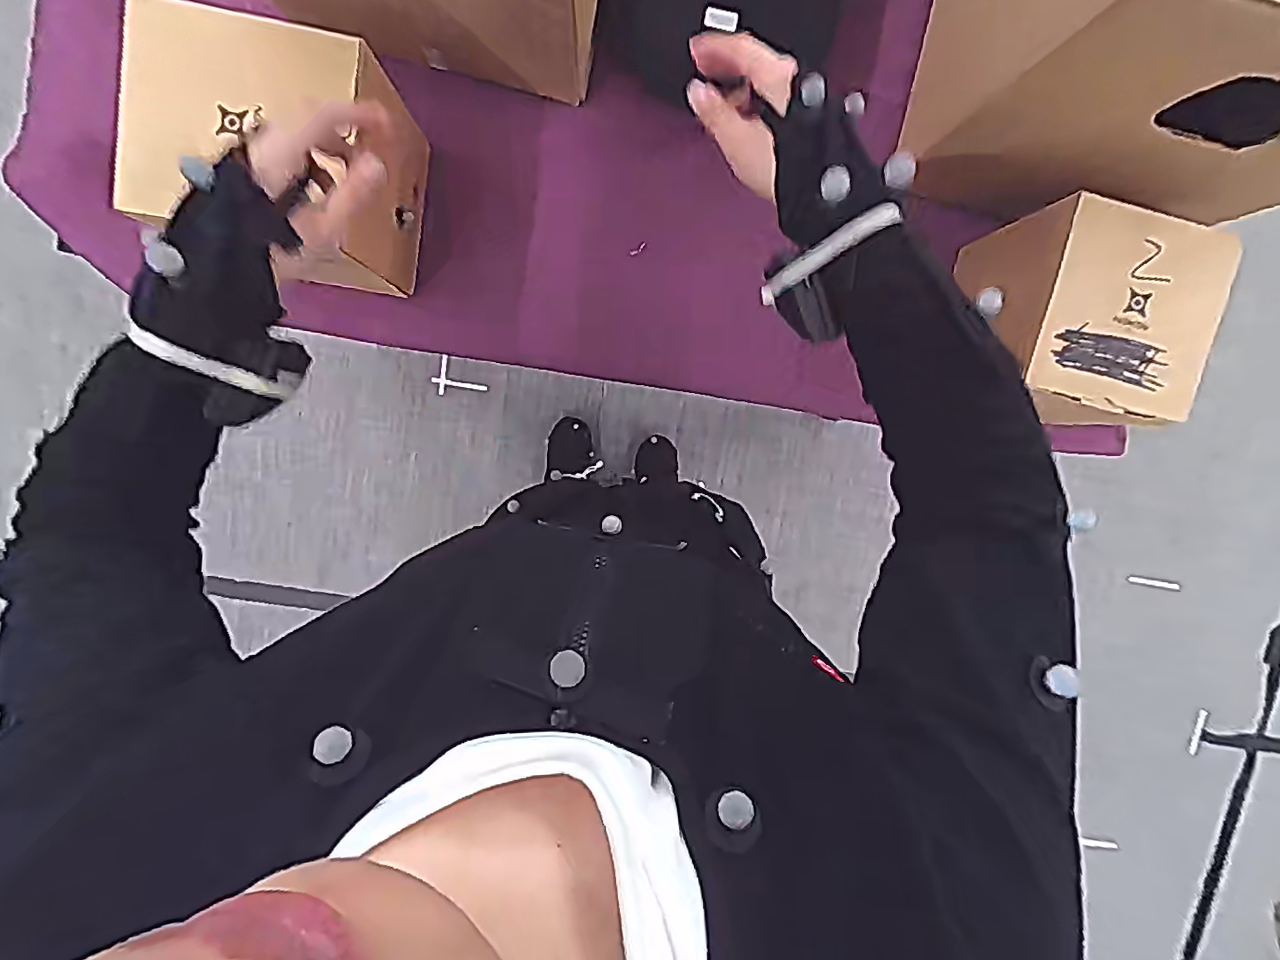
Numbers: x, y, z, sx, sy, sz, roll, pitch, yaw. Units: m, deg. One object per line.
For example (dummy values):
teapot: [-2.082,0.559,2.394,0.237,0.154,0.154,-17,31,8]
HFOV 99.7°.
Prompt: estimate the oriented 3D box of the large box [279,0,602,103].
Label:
large box: [-0.161,-0.611,0.413,0.320,0.320,0.408,11,99,-5]

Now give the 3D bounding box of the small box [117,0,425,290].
small box: [-0.326,-0.292,0.511,0.179,0.176,0.168,8,95,-5]
